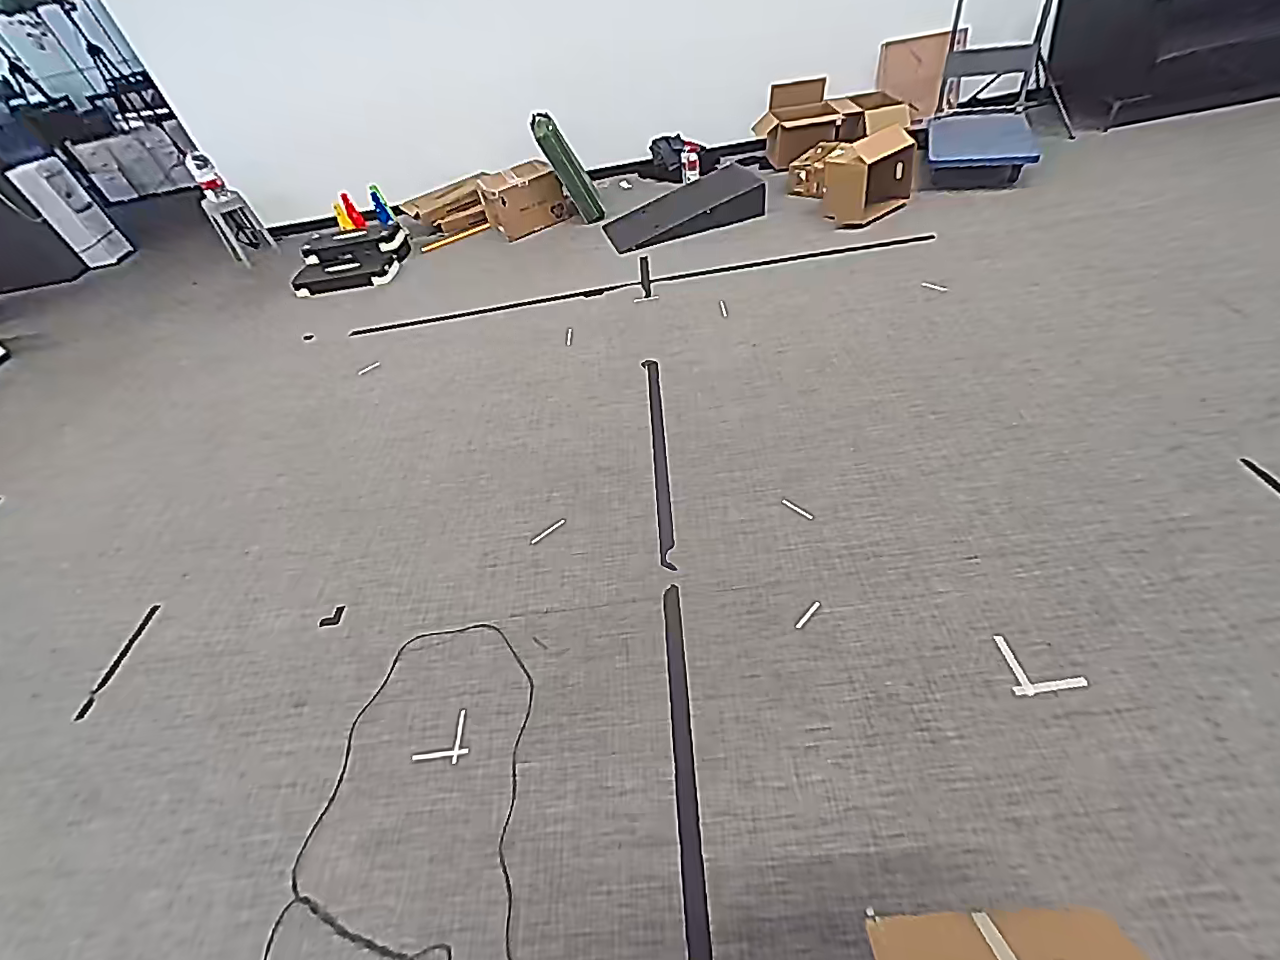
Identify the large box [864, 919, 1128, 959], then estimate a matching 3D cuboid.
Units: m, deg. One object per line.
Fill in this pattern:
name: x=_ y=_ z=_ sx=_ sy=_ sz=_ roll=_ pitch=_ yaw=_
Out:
large box: x=0.464 y=0.754 z=0.552 sx=0.320 sy=0.408 sz=0.320 roll=-9 pitch=80 yaw=9
